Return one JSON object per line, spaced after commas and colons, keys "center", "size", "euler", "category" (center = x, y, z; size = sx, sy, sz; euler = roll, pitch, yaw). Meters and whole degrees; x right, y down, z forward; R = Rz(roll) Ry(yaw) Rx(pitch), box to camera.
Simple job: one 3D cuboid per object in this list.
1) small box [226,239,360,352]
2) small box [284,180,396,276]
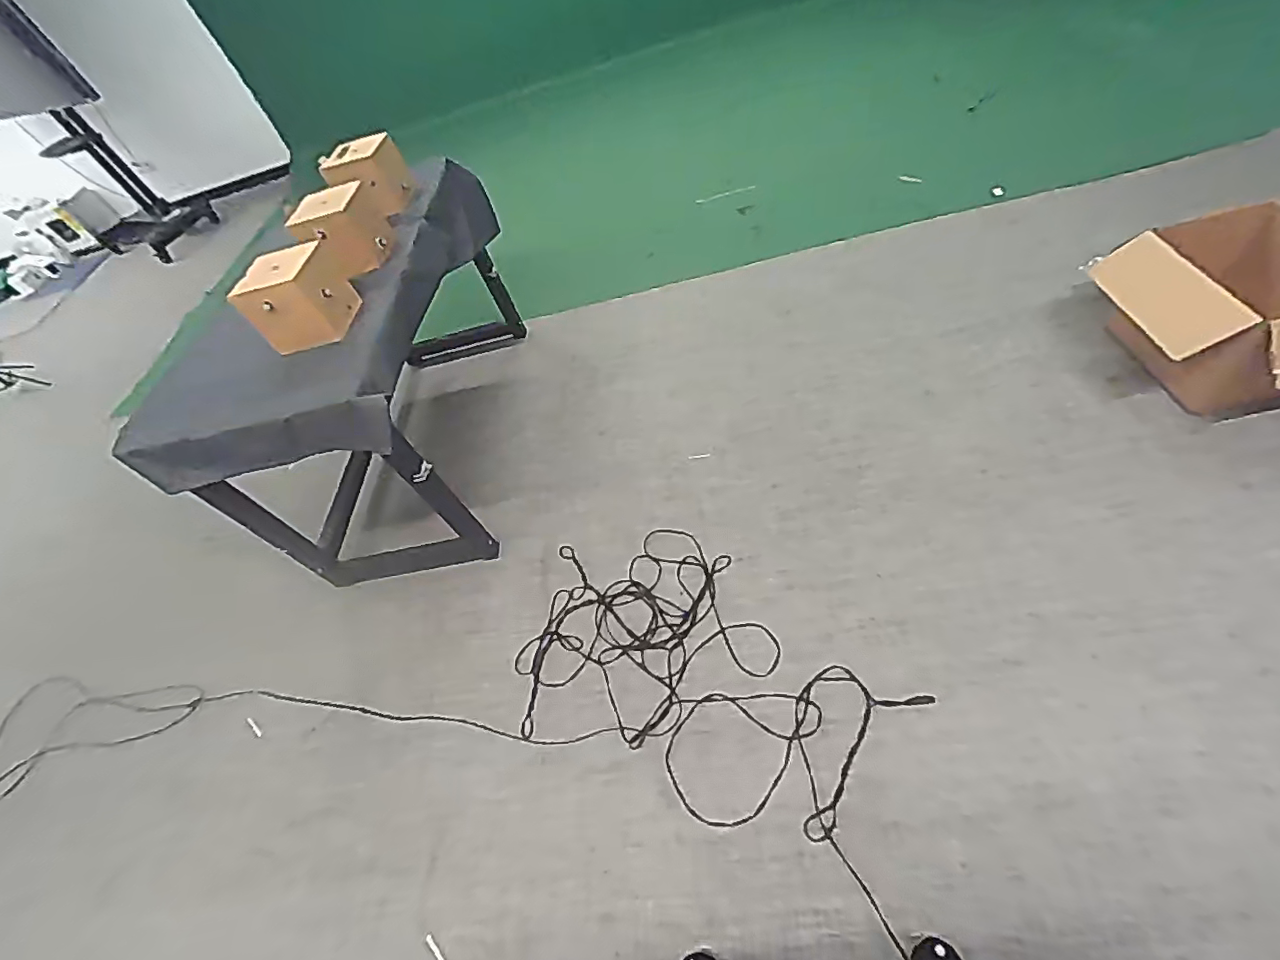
{"center": [-0.805, -0.431, 1.277], "size": [0.179, 0.176, 0.168], "euler": [-10, 51, 11], "category": "small box"}
{"center": [-0.803, -0.672, 1.464], "size": [0.179, 0.176, 0.168], "euler": [-9, 53, 10], "category": "small box"}
